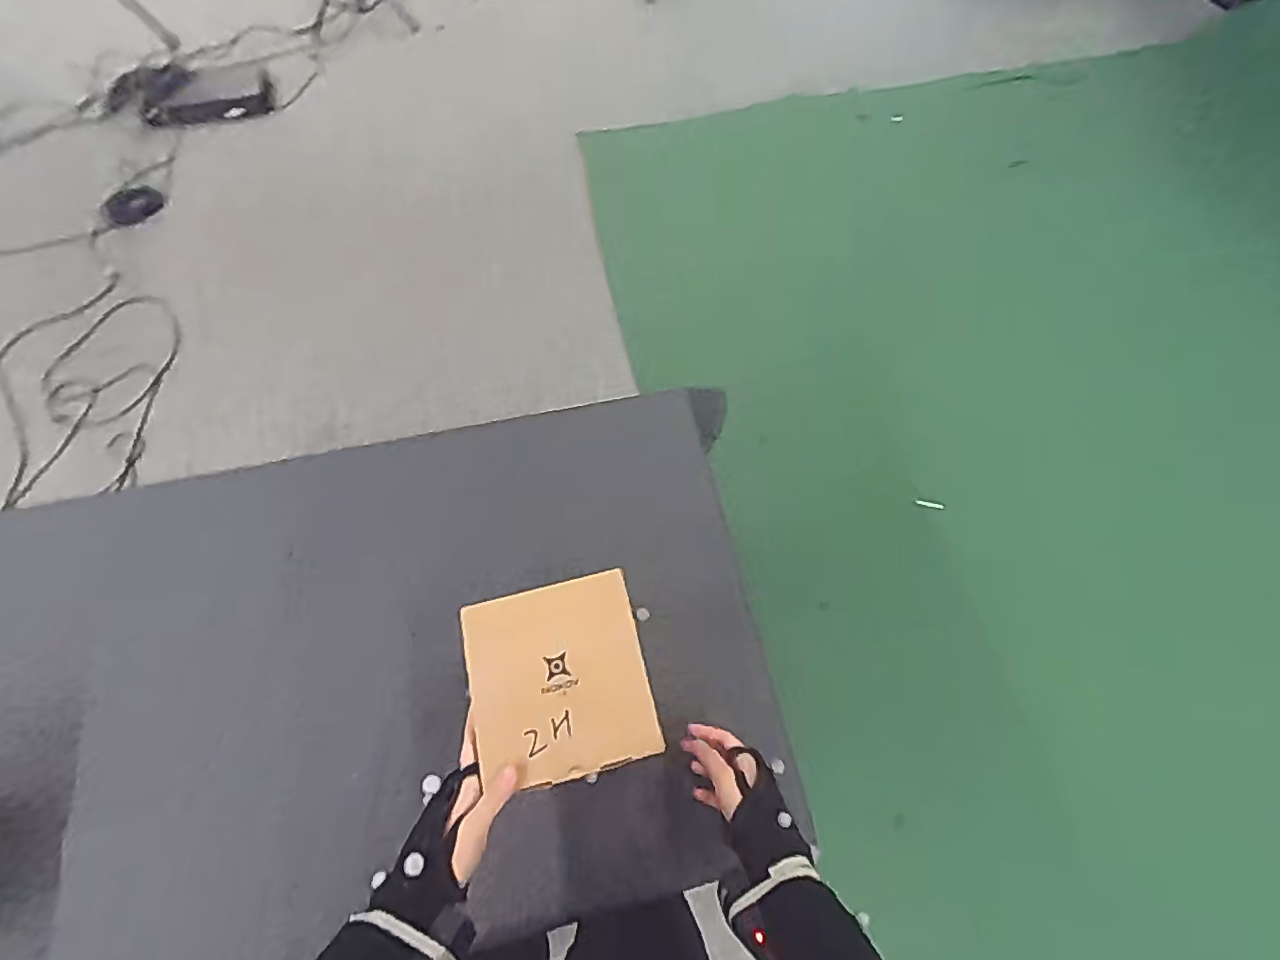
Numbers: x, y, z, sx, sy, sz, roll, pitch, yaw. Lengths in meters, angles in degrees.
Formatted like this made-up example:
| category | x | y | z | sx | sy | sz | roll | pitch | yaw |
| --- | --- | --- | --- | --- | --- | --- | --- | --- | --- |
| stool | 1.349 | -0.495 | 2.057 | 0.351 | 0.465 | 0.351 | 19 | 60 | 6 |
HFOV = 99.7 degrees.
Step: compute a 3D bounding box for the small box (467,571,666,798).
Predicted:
| category | x | y | z | sx | sy | sz | roll | pitch | yaw |
| --- | --- | --- | --- | --- | --- | --- | --- | --- | --- |
| small box | -0.074 | 0.221 | 0.590 | 0.168 | 0.176 | 0.179 | -15 | 67 | -4 |
